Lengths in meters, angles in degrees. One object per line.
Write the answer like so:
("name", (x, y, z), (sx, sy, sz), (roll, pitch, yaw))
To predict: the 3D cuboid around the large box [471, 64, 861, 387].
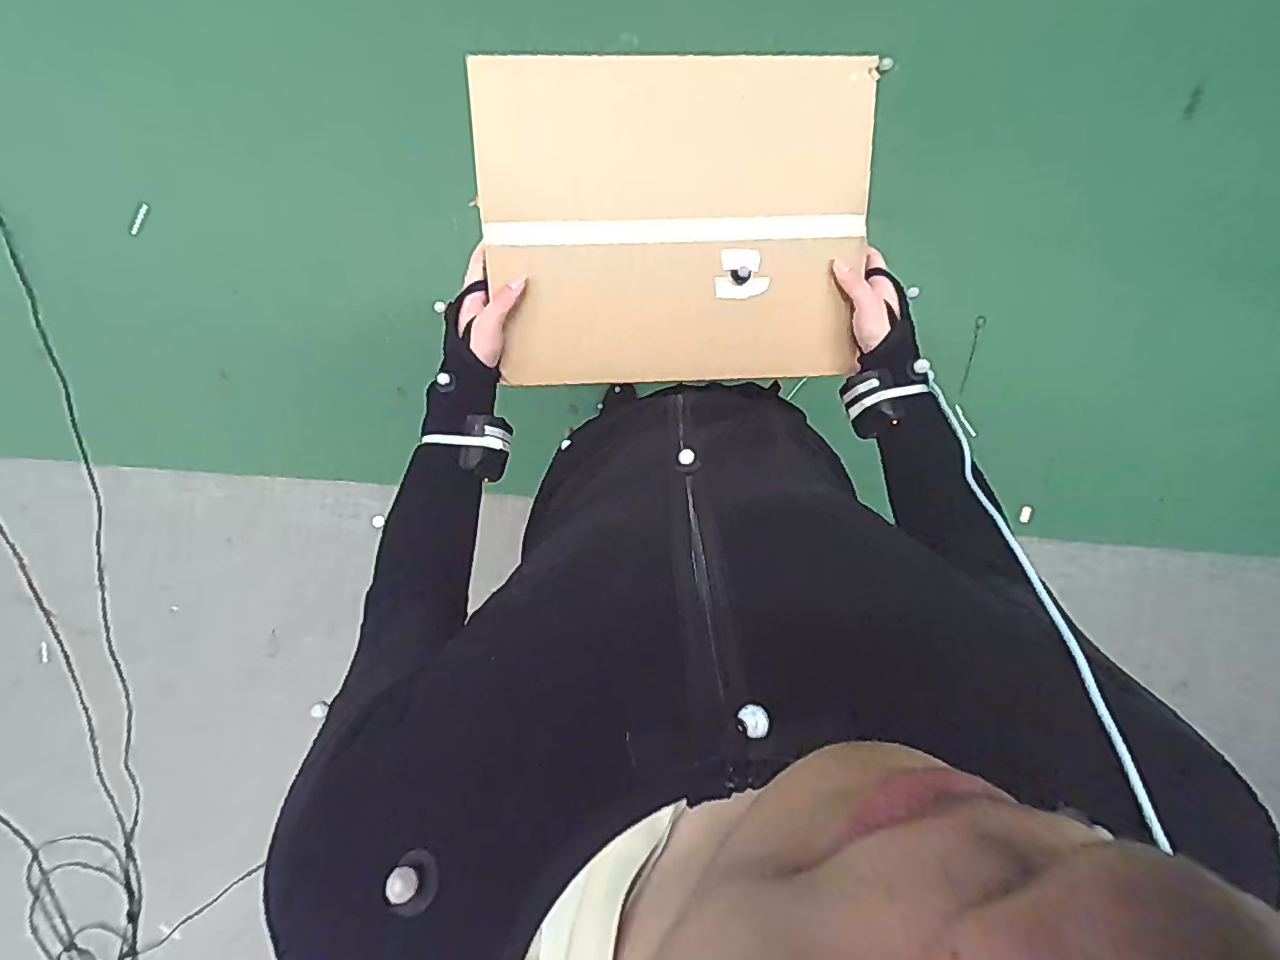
("large box", (0.024, -0.304, 0.724), (0.408, 0.320, 0.320), (-3, 106, -4))
